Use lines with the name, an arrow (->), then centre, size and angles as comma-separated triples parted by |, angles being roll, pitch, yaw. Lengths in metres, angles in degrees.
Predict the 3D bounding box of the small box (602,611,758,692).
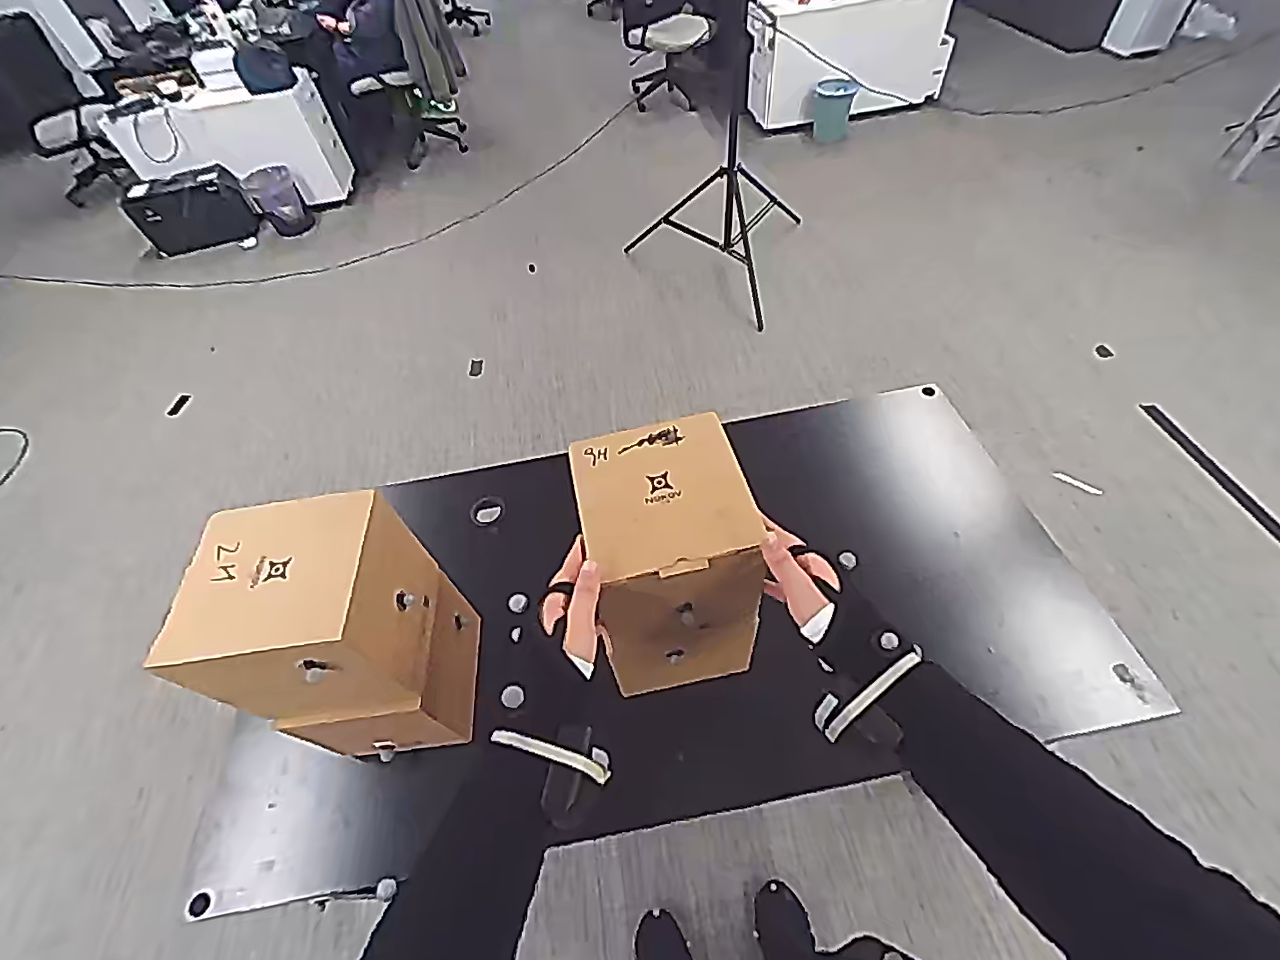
small box -> 0.044, 0.164, 0.716 | 0.179, 0.176, 0.168 | -11, 53, -3

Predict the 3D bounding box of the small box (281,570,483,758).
small box -> -0.312, 0.240, 0.700 | 0.168, 0.176, 0.179 | -9, 54, 1

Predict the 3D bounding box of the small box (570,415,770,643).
small box -> 0.030, 0.062, 0.589 | 0.168, 0.176, 0.179 | -13, 54, -3

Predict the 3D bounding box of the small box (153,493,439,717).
small box -> -0.333, 0.137, 0.573 | 0.179, 0.176, 0.168 | -9, 52, 1
